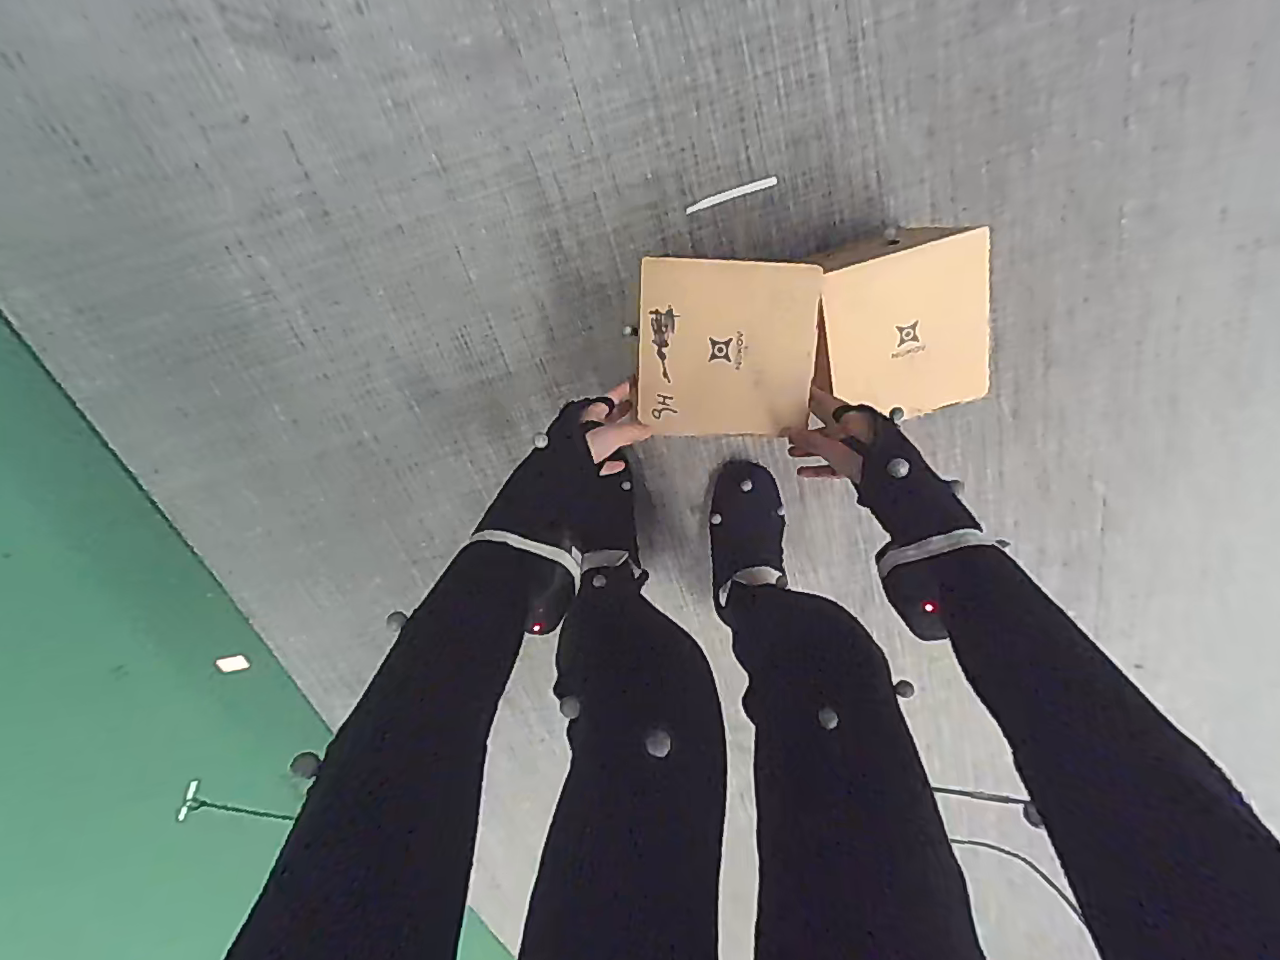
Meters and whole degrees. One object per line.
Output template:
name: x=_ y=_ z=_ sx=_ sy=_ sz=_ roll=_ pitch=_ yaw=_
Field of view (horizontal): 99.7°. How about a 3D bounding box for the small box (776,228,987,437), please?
small box: x=0.267 y=-0.176 z=0.624 sx=0.168 sy=0.176 sz=0.179 roll=-16 pitch=116 yaw=5
